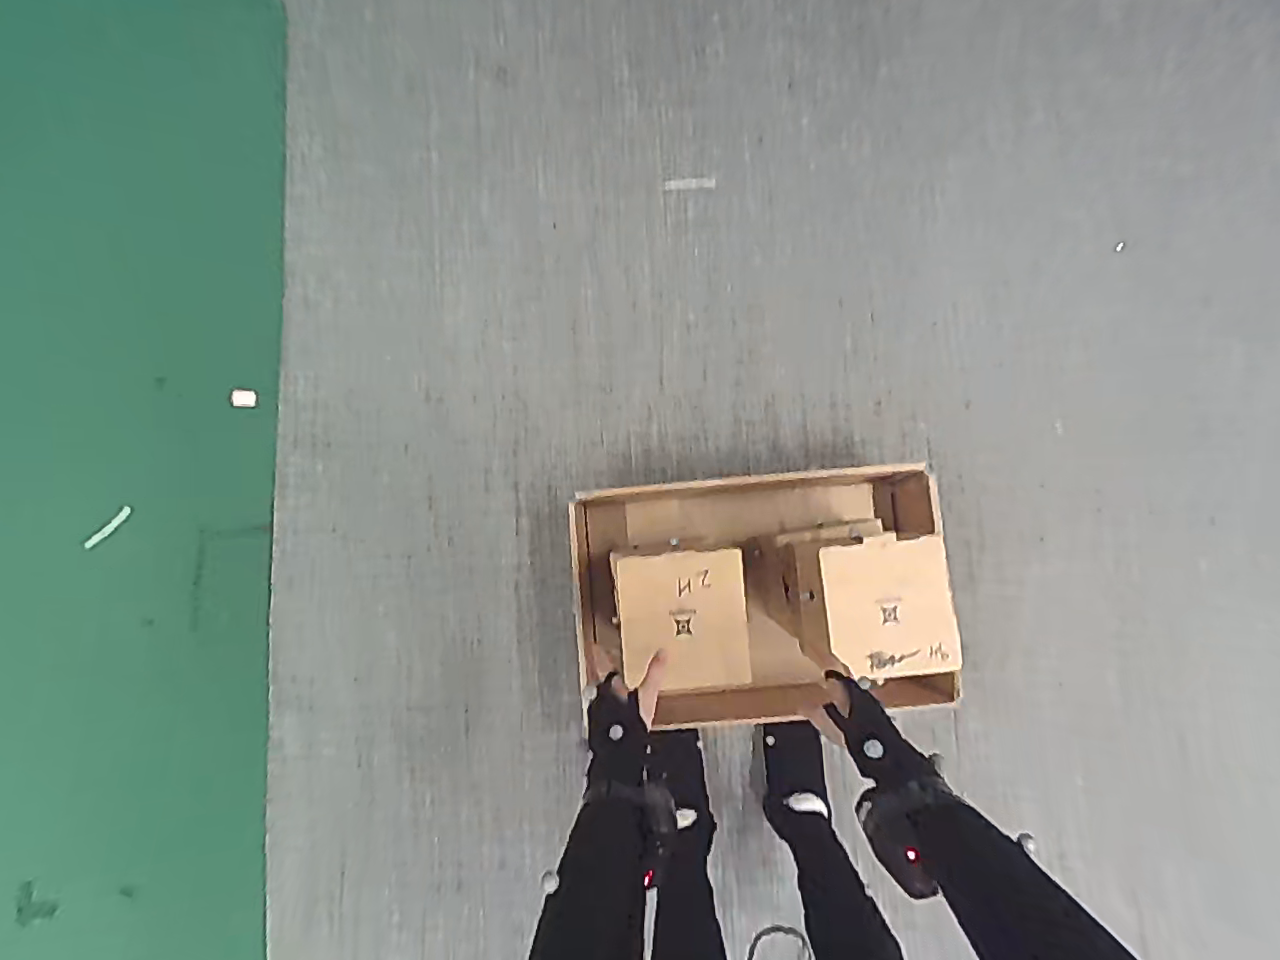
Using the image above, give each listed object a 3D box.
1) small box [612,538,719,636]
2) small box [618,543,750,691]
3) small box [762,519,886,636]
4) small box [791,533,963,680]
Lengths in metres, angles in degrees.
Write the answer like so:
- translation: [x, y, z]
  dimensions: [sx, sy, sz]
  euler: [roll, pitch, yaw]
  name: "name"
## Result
- translation: [0.050, 0.193, 0.945]
  dimensions: [0.179, 0.176, 0.168]
  euler: [-8, 86, -2]
  name: "small box"
- translation: [0.058, 0.187, 0.781]
  dimensions: [0.168, 0.176, 0.179]
  euler: [-4, 86, 0]
  name: "small box"
- translation: [0.319, 0.162, 0.941]
  dimensions: [0.179, 0.176, 0.168]
  euler: [-9, 86, 0]
  name: "small box"
- translation: [0.324, 0.172, 0.777]
  dimensions: [0.168, 0.176, 0.179]
  euler: [-6, 84, 1]
  name: "small box"
